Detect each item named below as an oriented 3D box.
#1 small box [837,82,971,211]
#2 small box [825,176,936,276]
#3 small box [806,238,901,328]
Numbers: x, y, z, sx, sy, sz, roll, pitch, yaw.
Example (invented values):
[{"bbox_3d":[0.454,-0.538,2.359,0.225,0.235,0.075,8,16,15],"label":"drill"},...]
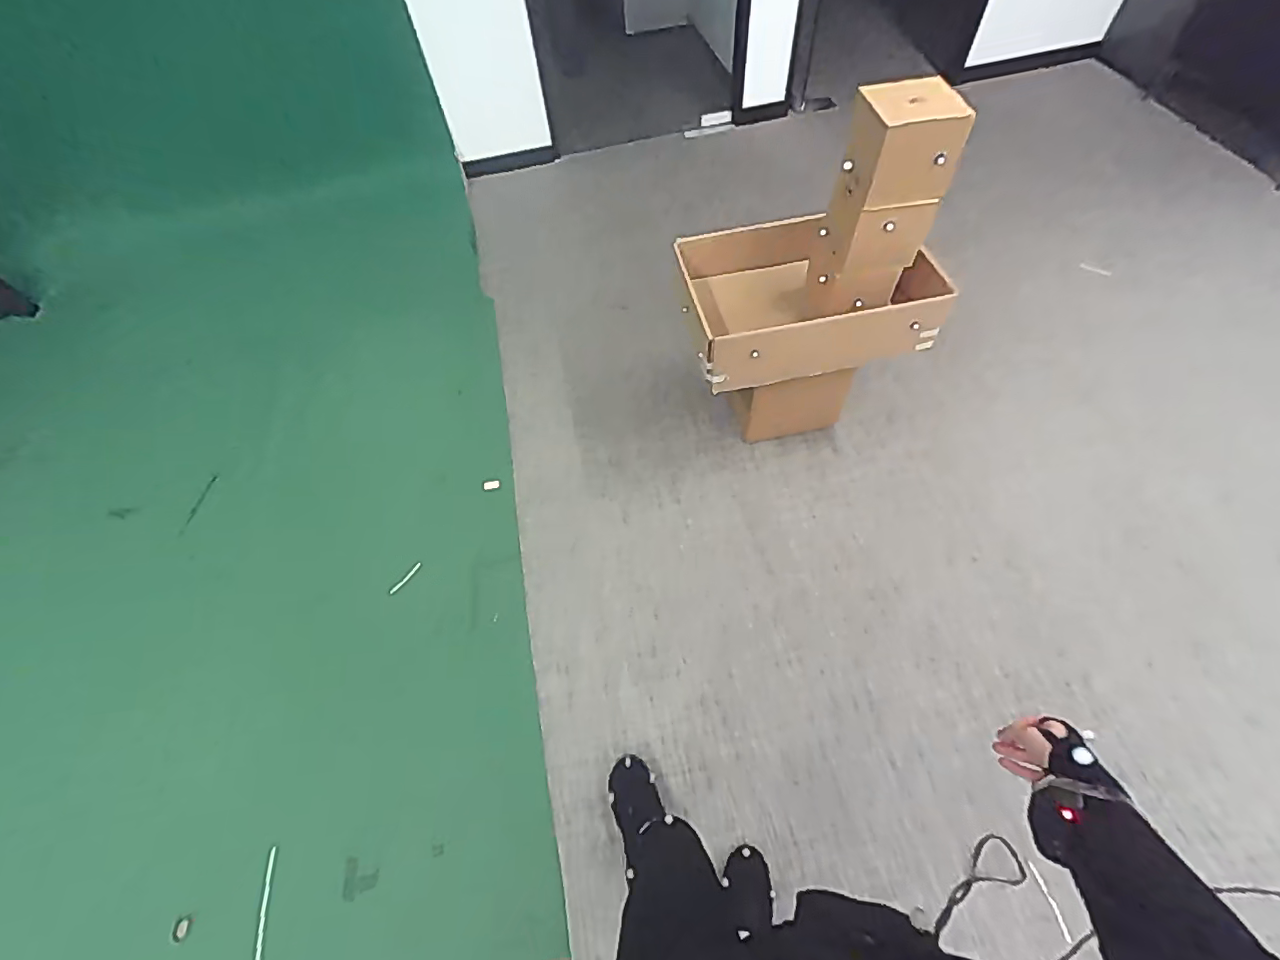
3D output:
[{"bbox_3d":[0.543,-0.698,1.140,0.179,0.176,0.168,-9,57,-1],"label":"small box"},{"bbox_3d":[0.550,-0.603,1.273,0.179,0.176,0.168,-8,58,-1],"label":"small box"},{"bbox_3d":[0.547,-0.516,1.412,0.168,0.176,0.179,-7,58,0],"label":"small box"}]
